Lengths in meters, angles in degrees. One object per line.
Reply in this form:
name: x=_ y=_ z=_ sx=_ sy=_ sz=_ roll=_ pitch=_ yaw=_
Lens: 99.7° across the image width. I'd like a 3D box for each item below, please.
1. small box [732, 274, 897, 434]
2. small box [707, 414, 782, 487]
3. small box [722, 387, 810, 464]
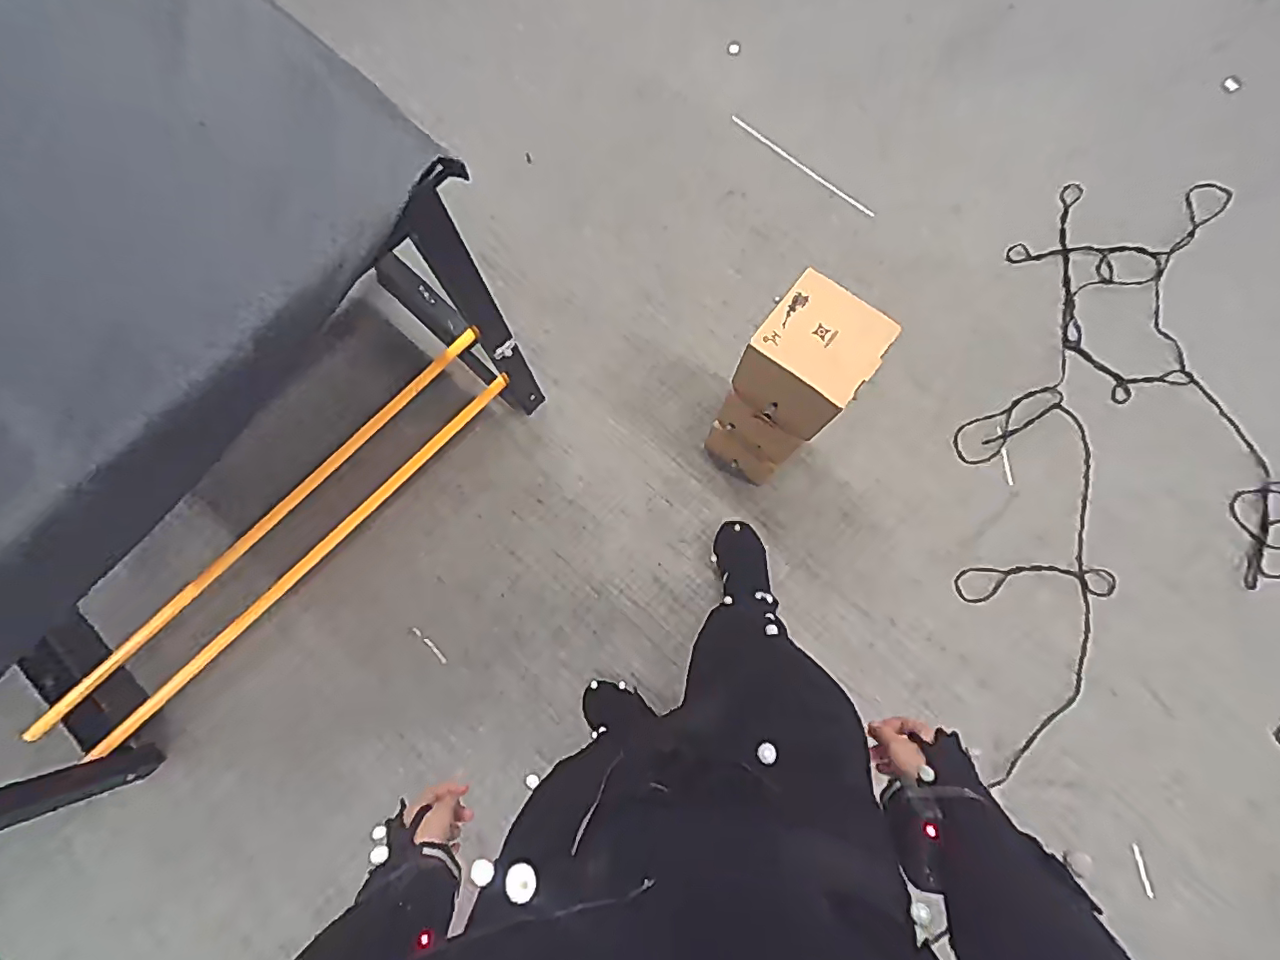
small box: x=0.277 y=-0.195 z=0.901 sx=0.179 sy=0.176 sz=0.168 roll=38 pitch=80 yaw=7
small box: x=0.267 y=-0.110 z=1.217 sx=0.168 sy=0.176 sz=0.179 roll=36 pitch=80 yaw=9
small box: x=0.275 y=-0.155 z=1.059 sx=0.168 sy=0.176 sz=0.179 roll=37 pitch=79 yaw=8
